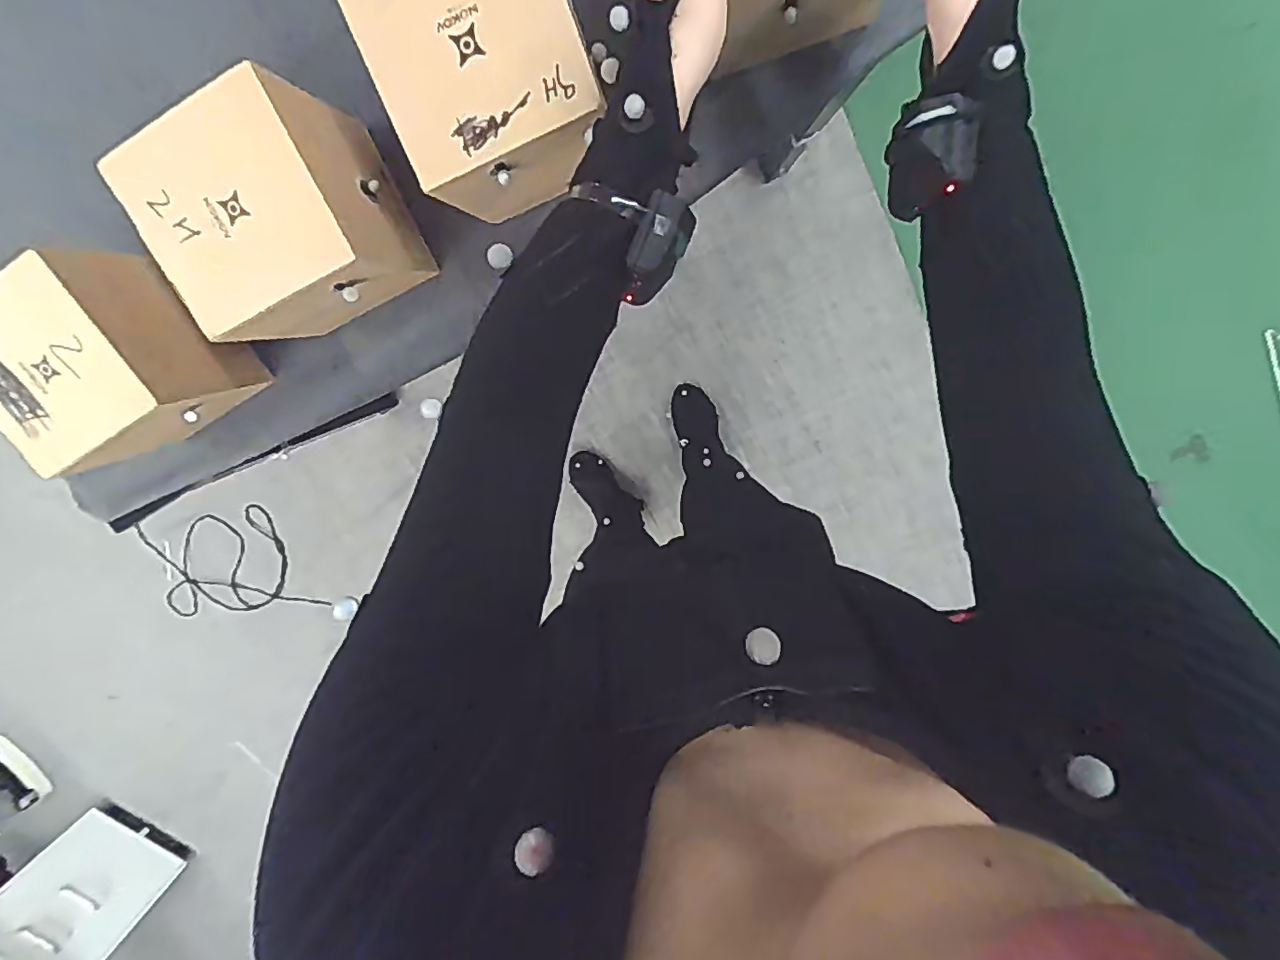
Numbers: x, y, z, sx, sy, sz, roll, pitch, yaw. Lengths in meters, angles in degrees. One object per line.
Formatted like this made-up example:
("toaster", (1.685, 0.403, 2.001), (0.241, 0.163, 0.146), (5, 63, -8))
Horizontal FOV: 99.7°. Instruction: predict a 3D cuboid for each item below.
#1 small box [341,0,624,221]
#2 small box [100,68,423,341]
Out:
("small box", (-0.126, -0.363, 0.488), (0.168, 0.176, 0.179), (-18, 104, 12))
("small box", (-0.348, -0.255, 0.543), (0.179, 0.176, 0.168), (-21, 104, 12))
